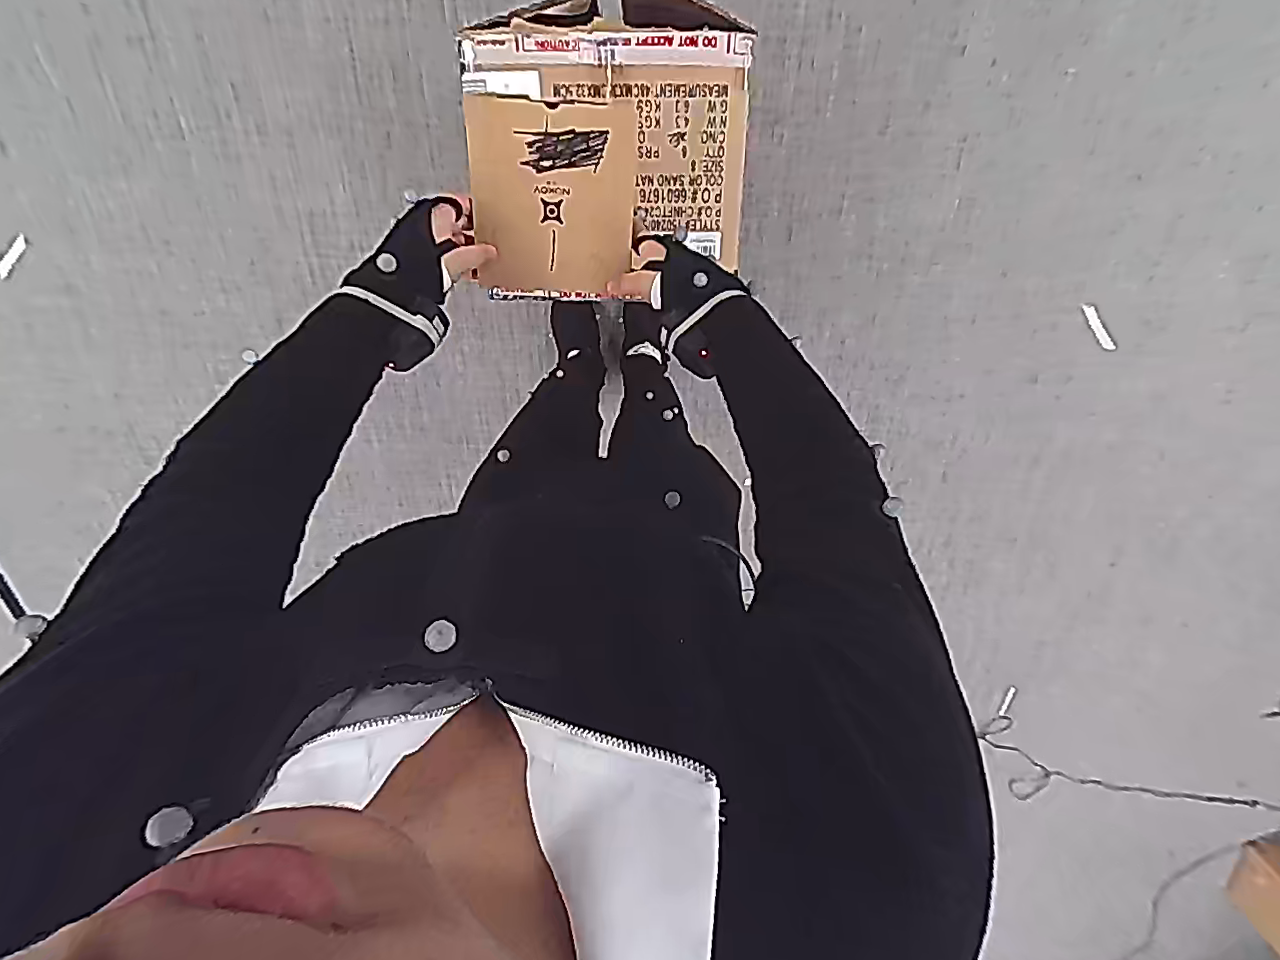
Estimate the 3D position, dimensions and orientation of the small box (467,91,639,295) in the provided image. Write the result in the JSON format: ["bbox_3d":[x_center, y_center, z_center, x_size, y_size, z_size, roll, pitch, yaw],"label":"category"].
[{"bbox_3d":[-0.091,-0.319,0.619,0.168,0.176,0.179,3,117,-2],"label":"small box"}]
